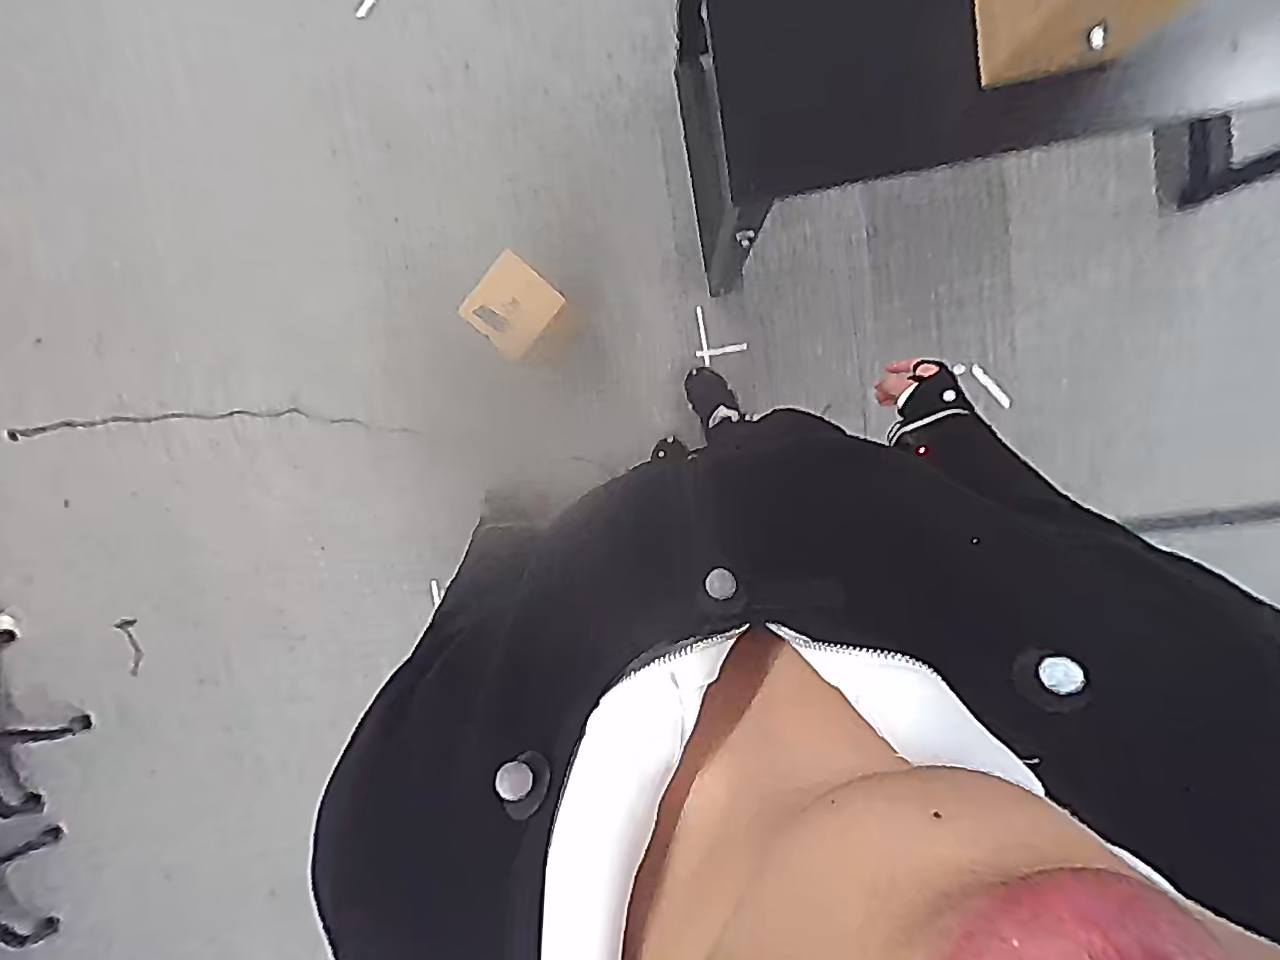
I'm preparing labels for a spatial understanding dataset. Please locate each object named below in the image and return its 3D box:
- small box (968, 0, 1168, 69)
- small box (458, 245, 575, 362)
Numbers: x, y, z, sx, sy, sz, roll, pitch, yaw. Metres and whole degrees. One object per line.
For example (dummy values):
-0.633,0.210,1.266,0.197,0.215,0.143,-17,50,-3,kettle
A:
0.470,-0.574,0.566,0.168,0.176,0.179,-10,97,5,small box
-0.267,-0.385,1.217,0.168,0.176,0.179,41,99,-3,small box
